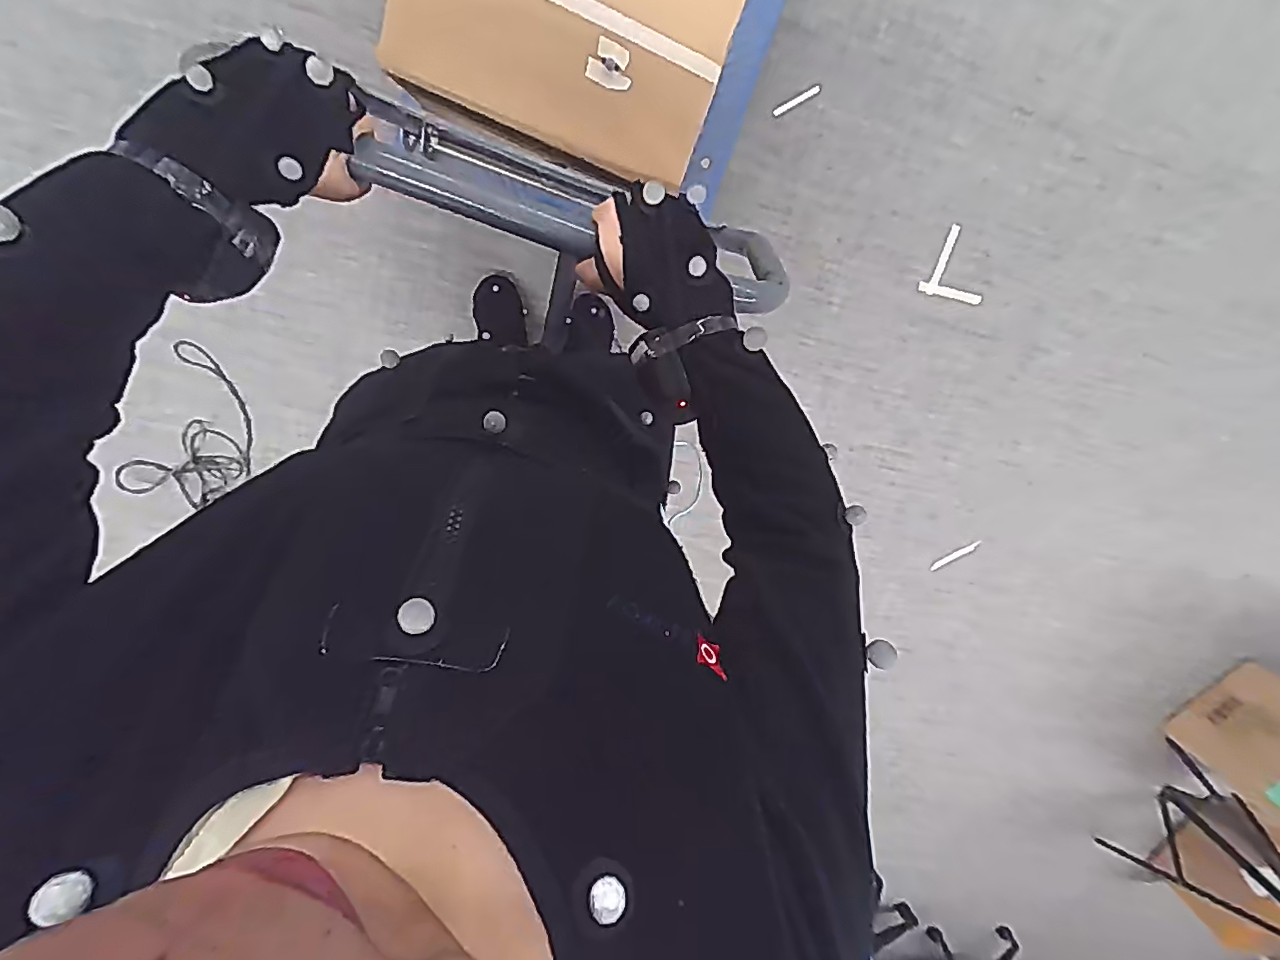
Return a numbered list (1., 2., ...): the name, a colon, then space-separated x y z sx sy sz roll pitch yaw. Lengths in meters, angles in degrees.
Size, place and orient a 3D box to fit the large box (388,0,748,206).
1. large box: -0.098 -0.646 0.797 0.408 0.320 0.320 17 111 -15
